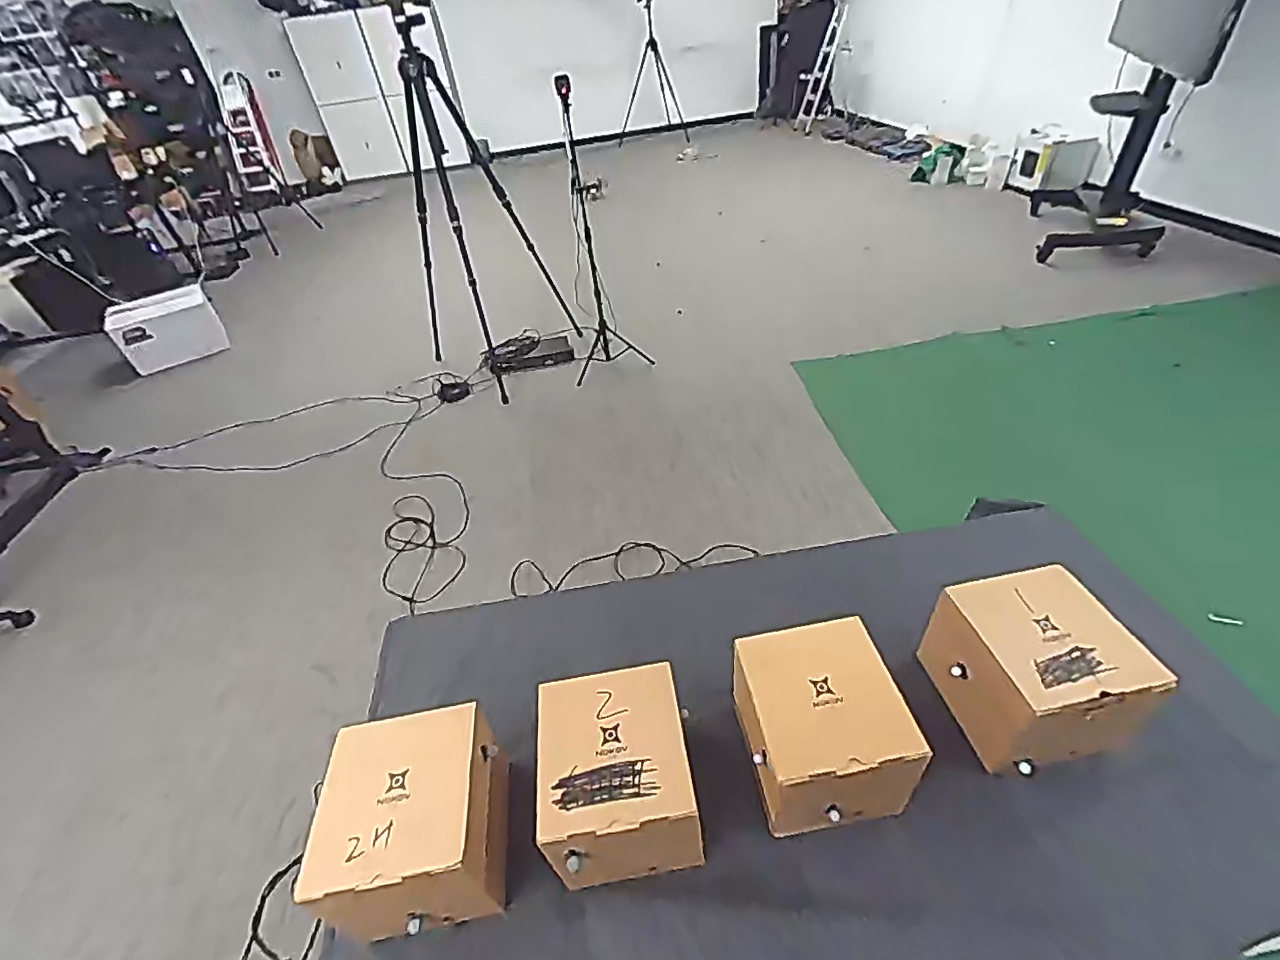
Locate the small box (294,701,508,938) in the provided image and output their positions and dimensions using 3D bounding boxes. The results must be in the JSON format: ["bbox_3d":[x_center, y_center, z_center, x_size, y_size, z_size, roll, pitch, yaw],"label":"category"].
[{"bbox_3d":[-0.258,0.396,0.636,0.168,0.176,0.179,-10,40,-4],"label":"small box"}]

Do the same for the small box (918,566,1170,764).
[{"bbox_3d":[0.495,0.242,0.698,0.168,0.176,0.179,-10,40,-3],"label":"small box"}]

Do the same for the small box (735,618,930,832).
[{"bbox_3d":[0.220,0.304,0.676,0.168,0.176,0.179,-10,41,-3],"label":"small box"}]
